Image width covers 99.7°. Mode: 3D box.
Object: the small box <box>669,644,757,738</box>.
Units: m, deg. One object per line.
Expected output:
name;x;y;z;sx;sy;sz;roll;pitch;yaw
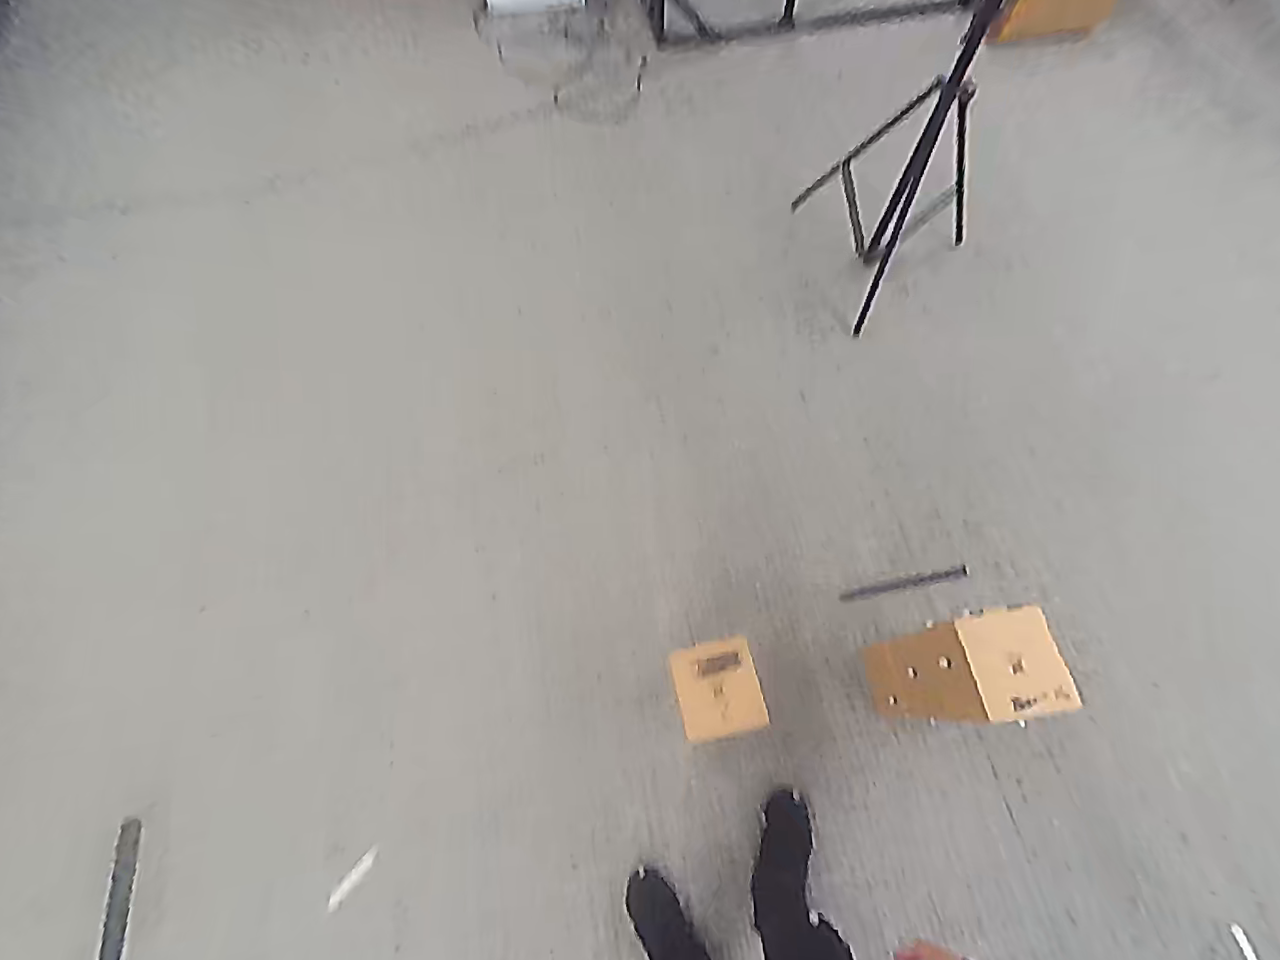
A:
small box;0.166;0.510;1.304;0.168;0.176;0.179;-12;67;-3

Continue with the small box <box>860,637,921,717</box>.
small box;0.659;0.471;1.309;0.168;0.176;0.179;-8;68;-2

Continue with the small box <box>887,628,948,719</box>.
small box;0.663;0.406;1.159;0.168;0.176;0.179;-8;67;-3

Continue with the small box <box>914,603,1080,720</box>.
small box;0.646;0.343;1.007;0.168;0.176;0.179;-8;67;-2
